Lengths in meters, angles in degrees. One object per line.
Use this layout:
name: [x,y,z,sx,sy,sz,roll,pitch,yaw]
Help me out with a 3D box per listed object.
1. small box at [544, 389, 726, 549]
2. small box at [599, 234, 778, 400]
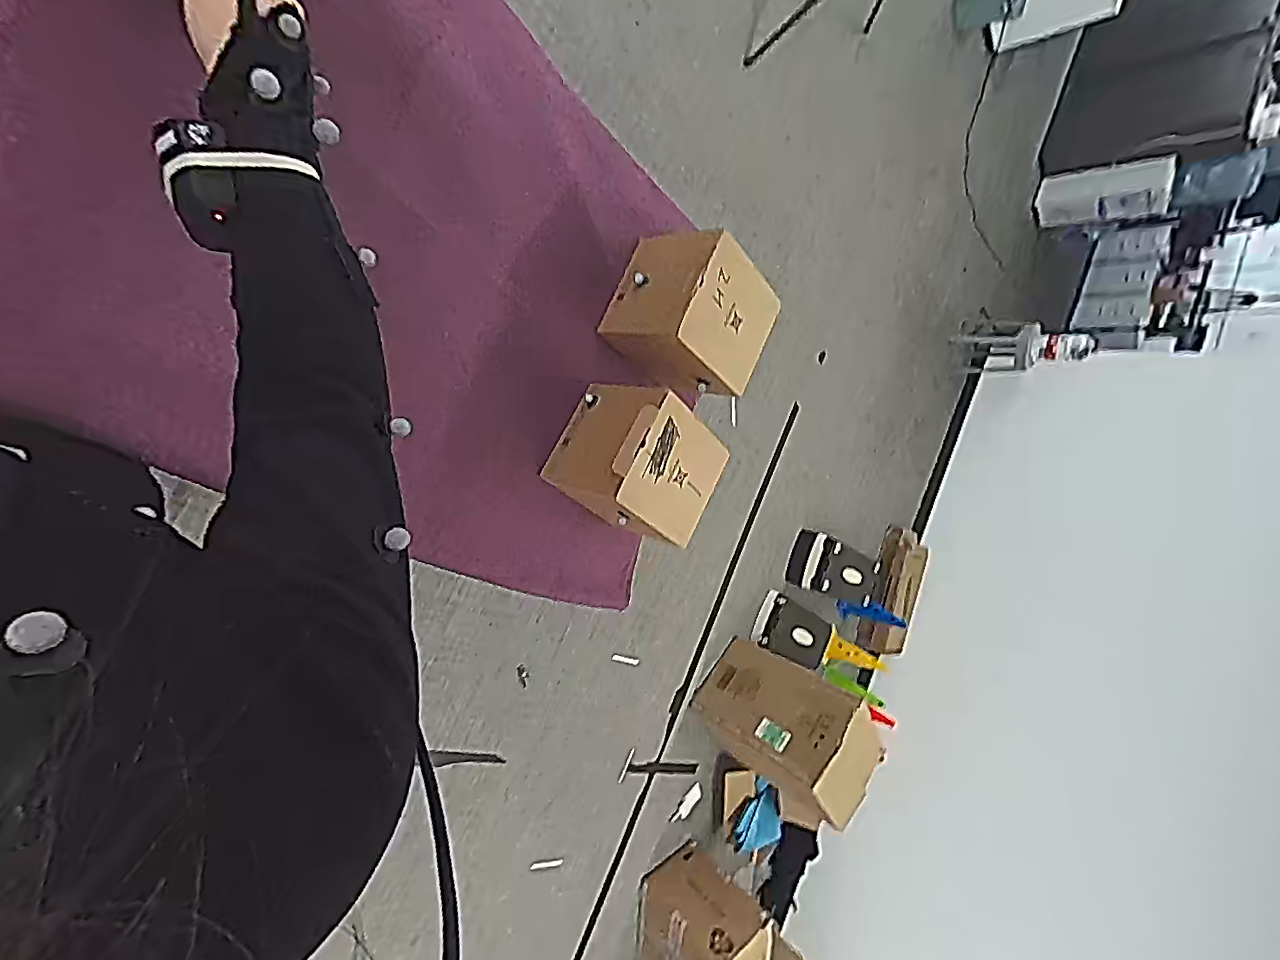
small box: [-0.009,-0.021,0.802,0.179,0.176,0.168,39,73,-42]
small box: [0.073,-0.241,0.820,0.179,0.176,0.168,31,80,-44]
